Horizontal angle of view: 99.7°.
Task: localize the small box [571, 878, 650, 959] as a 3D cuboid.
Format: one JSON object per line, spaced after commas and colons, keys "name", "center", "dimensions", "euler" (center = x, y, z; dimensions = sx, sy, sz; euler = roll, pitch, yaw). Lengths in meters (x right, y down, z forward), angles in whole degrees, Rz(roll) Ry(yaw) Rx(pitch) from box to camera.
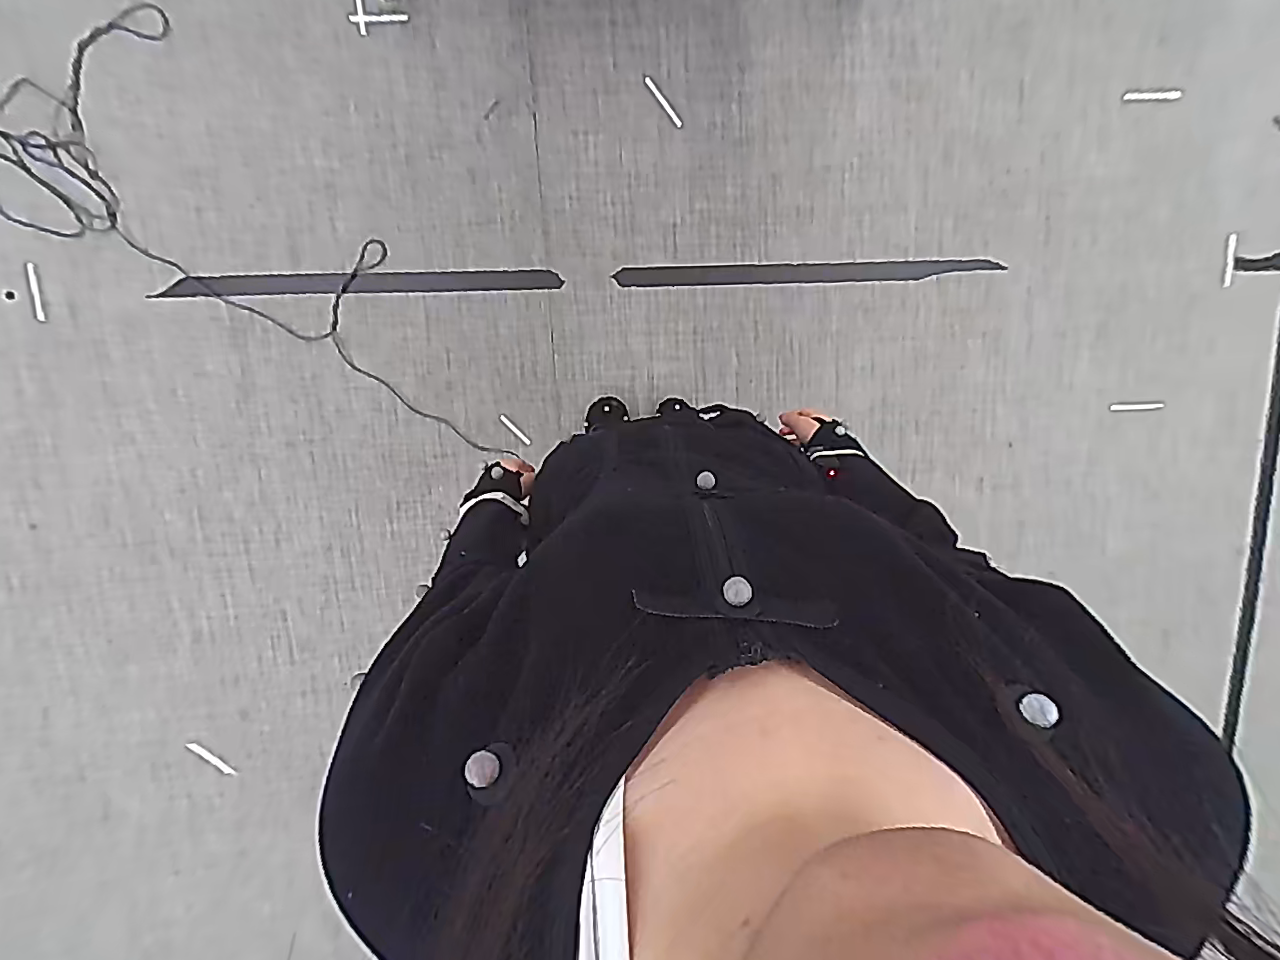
{"name": "small box", "center": [-0.066, 1.084, 1.281], "dimensions": [0.179, 0.176, 0.168], "euler": [-4, 97, -1]}
